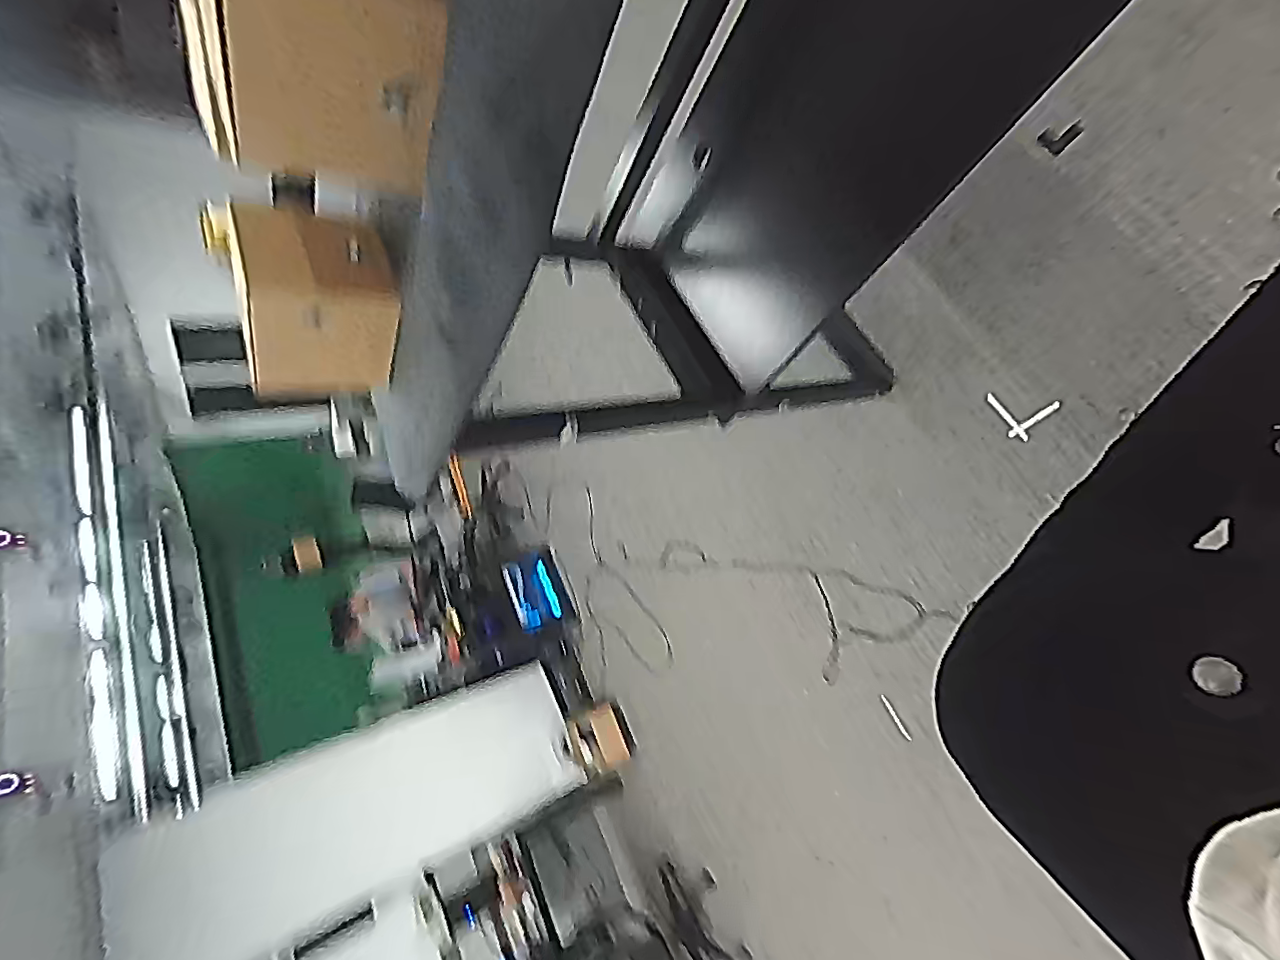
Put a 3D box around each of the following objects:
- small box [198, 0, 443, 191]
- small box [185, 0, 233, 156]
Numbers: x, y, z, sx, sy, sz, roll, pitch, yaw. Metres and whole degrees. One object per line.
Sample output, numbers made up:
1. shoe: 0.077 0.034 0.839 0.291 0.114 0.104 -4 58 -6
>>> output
1. small box: -0.299 -0.409 0.508 0.168 0.176 0.179 62 140 22
2. small box: -0.488 -0.542 0.724 0.179 0.176 0.168 58 140 26
